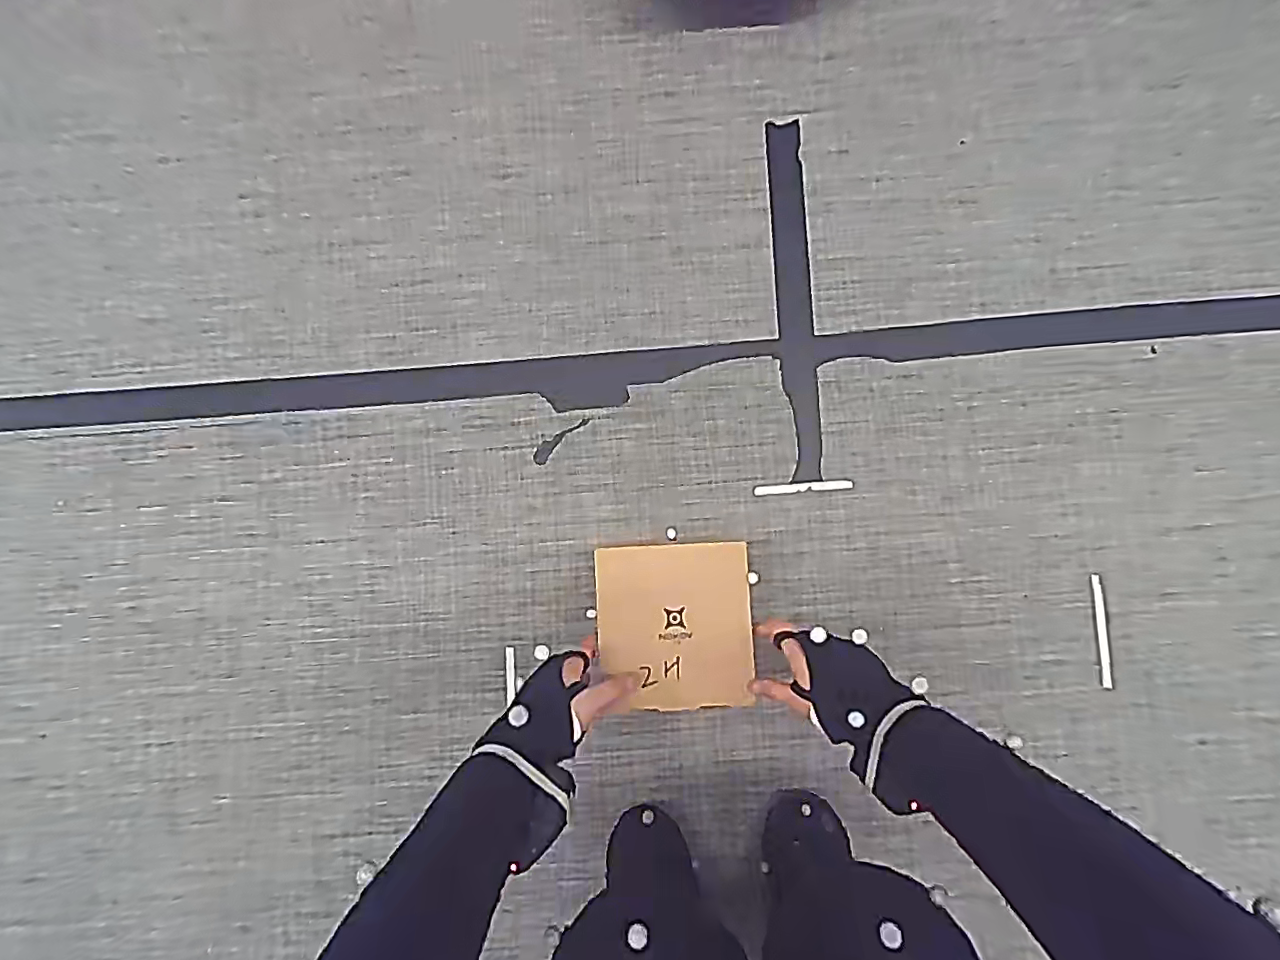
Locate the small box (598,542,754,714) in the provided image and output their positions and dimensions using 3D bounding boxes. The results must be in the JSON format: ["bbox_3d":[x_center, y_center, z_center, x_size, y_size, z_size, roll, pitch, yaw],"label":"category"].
[{"bbox_3d":[0.038,0.165,0.656,0.168,0.176,0.179,-3,86,1],"label":"small box"}]
